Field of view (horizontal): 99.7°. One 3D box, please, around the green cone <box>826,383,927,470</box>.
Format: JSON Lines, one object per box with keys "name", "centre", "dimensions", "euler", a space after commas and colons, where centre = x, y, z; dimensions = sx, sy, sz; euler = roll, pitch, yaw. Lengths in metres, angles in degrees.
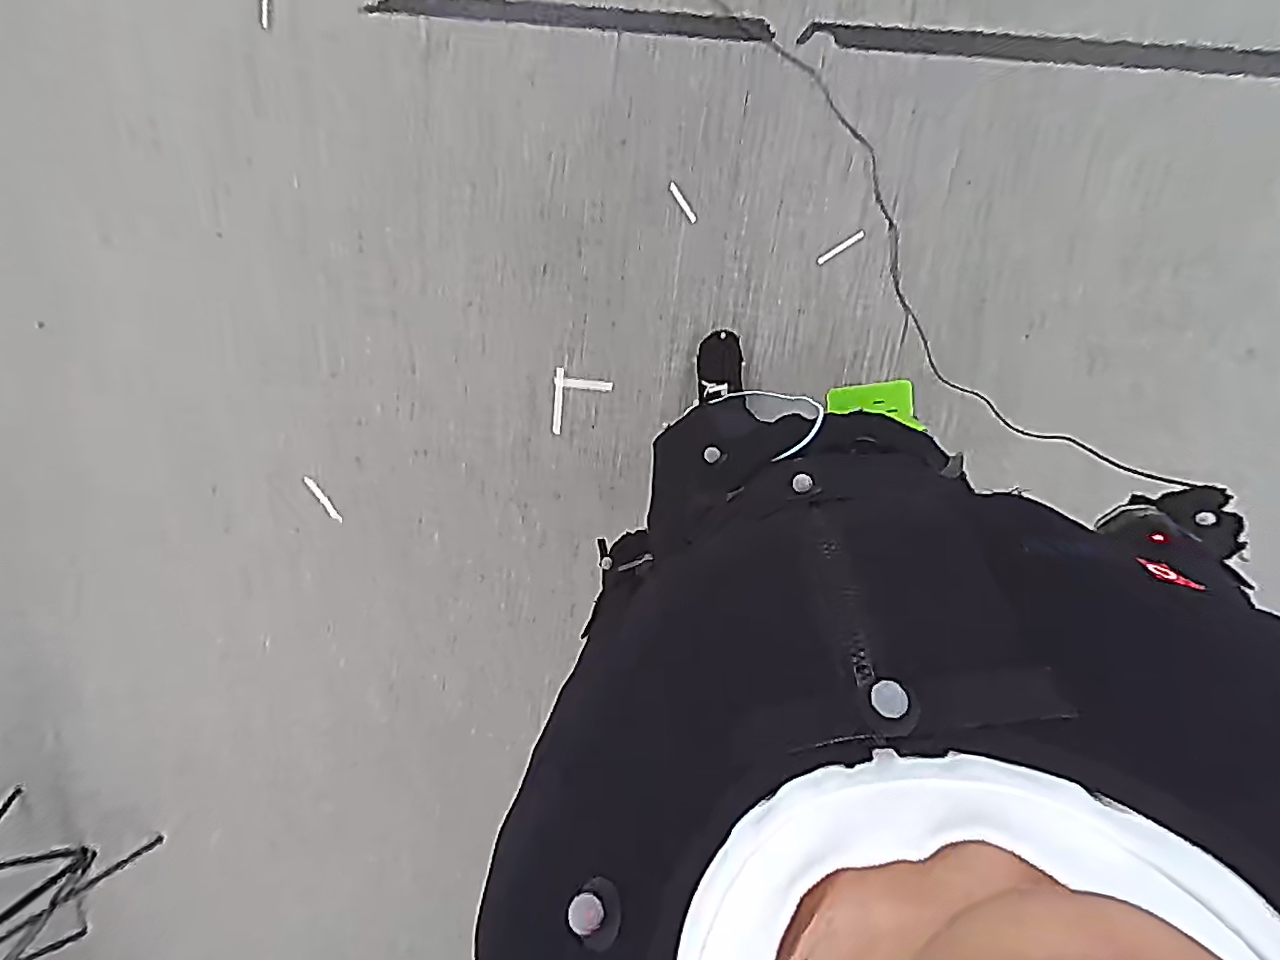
{"name": "green cone", "centre": [0.542, -0.106, 1.167], "dimensions": [0.202, 0.368, 0.200], "euler": [-7, 97, 11]}
